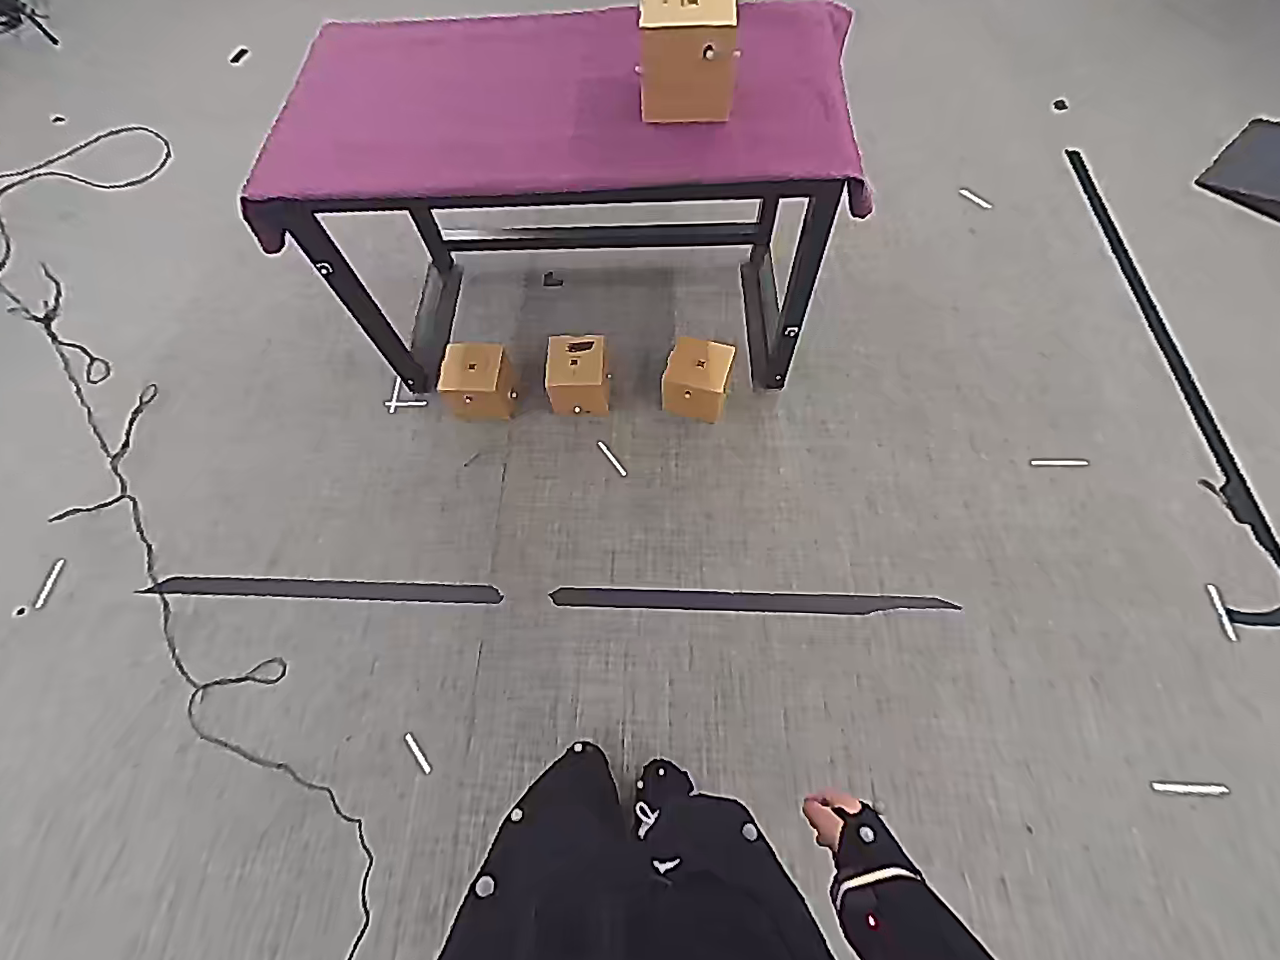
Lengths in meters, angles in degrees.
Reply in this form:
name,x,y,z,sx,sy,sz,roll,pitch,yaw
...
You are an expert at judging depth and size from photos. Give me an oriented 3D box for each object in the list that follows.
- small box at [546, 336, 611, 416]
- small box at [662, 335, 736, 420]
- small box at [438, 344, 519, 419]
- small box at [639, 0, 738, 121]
name,x,y,z,sx,sy,sz,roll,pitch,yaw
small box,-0.180,-0.312,1.634,0.168,0.176,0.179,-1,66,3
small box,0.176,-0.298,1.607,0.179,0.176,0.168,15,68,12
small box,-0.485,-0.297,1.648,0.179,0.176,0.168,1,67,3
small box,0.094,-0.831,1.052,0.179,0.176,0.168,1,64,5
